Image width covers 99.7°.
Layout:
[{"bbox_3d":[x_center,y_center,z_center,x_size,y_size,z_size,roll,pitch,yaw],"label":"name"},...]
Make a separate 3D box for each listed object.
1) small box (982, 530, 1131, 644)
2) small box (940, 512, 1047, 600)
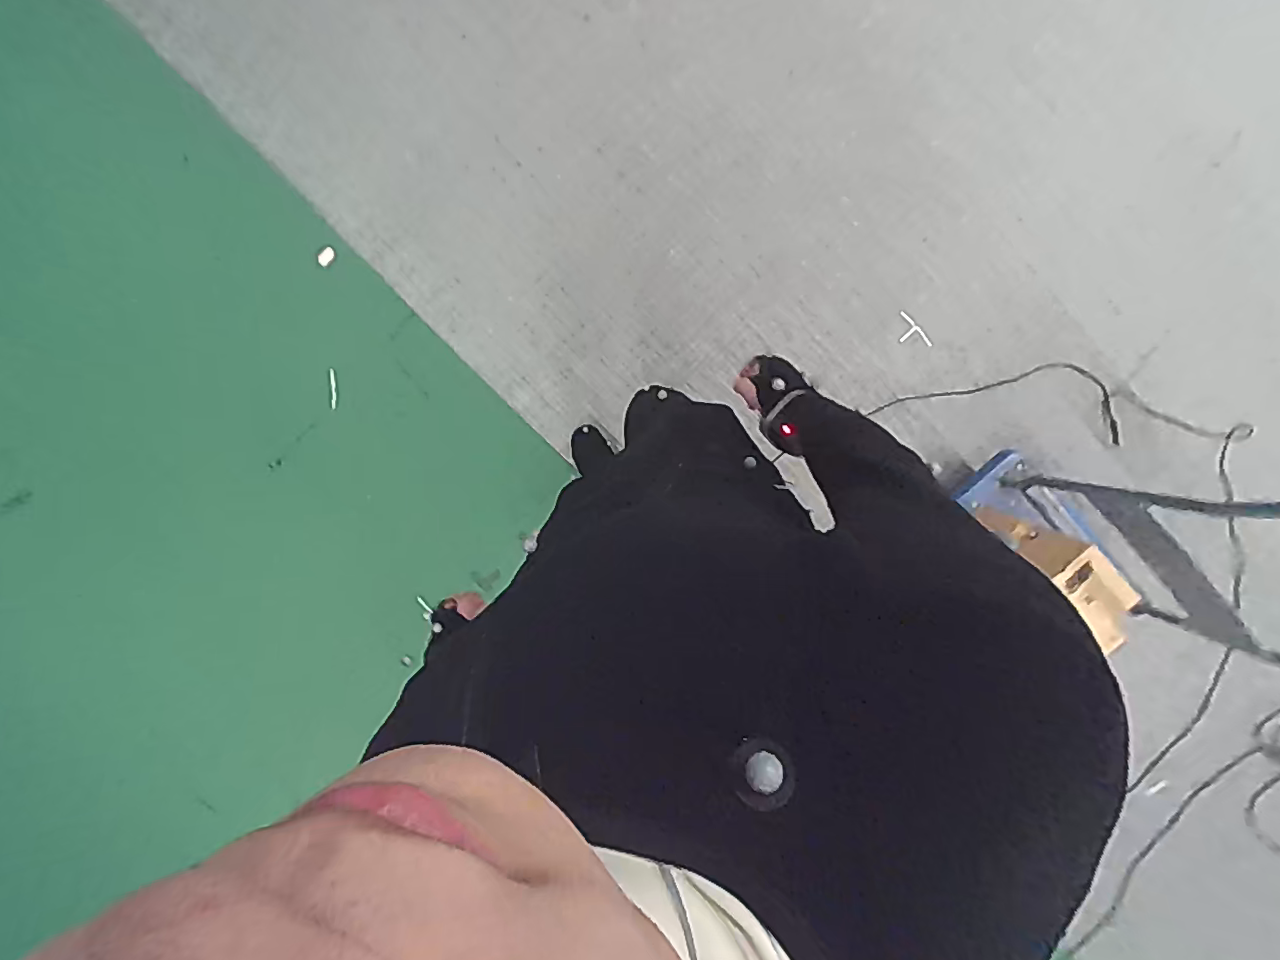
[{"bbox_3d":[0.941,0.234,1.241,0.168,0.176,0.179,-44,98,7],"label":"small box"},{"bbox_3d":[0.922,0.192,1.409,0.179,0.176,0.168,-14,97,1],"label":"small box"}]
